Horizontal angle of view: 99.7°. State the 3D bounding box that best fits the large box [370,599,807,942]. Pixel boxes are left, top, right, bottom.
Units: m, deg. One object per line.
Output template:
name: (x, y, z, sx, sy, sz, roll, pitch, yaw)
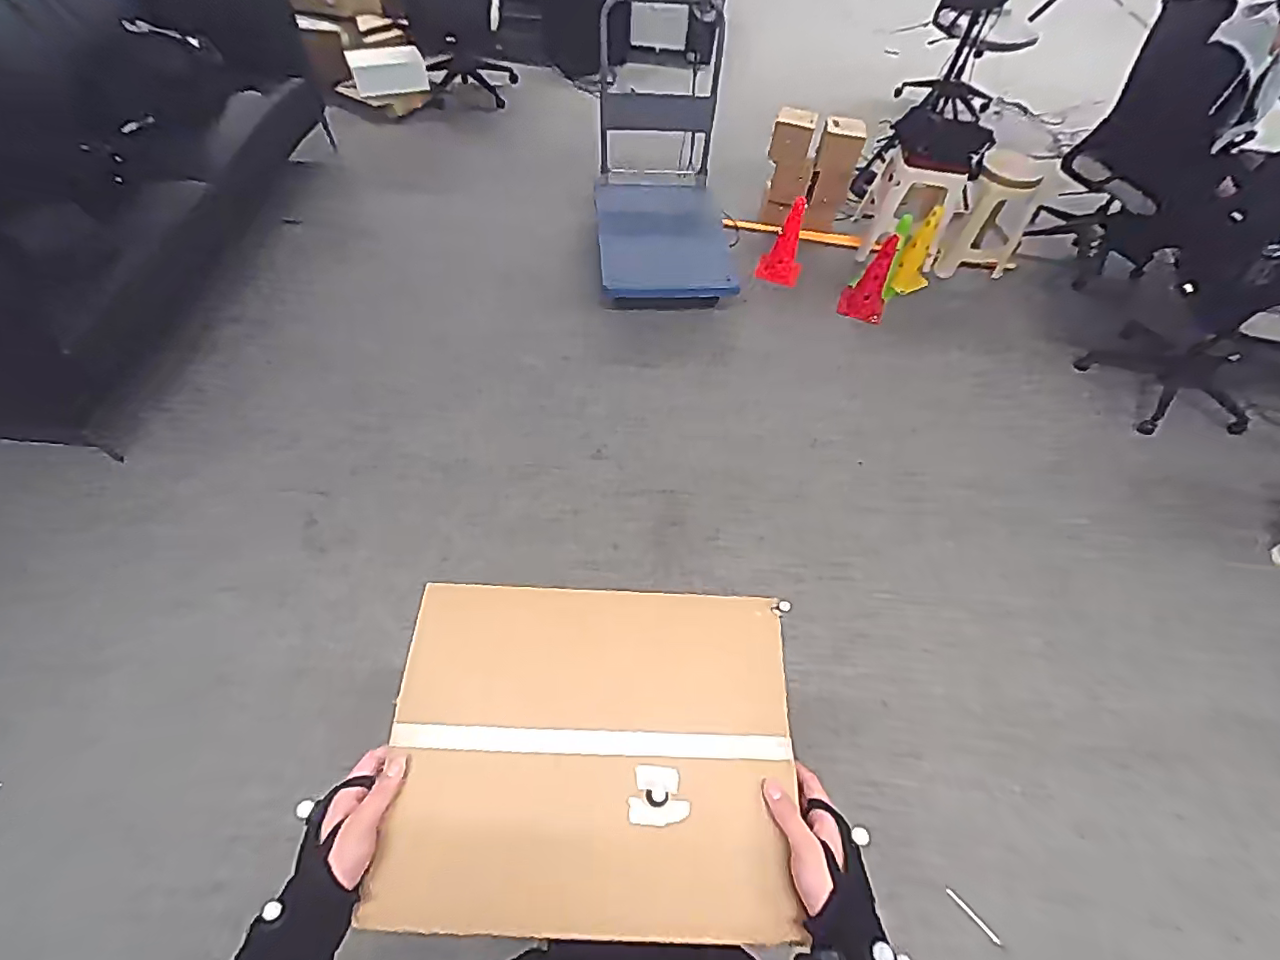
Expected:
large box: (-0.050, 0.350, 0.686, 0.408, 0.320, 0.320, 2, 62, -1)
